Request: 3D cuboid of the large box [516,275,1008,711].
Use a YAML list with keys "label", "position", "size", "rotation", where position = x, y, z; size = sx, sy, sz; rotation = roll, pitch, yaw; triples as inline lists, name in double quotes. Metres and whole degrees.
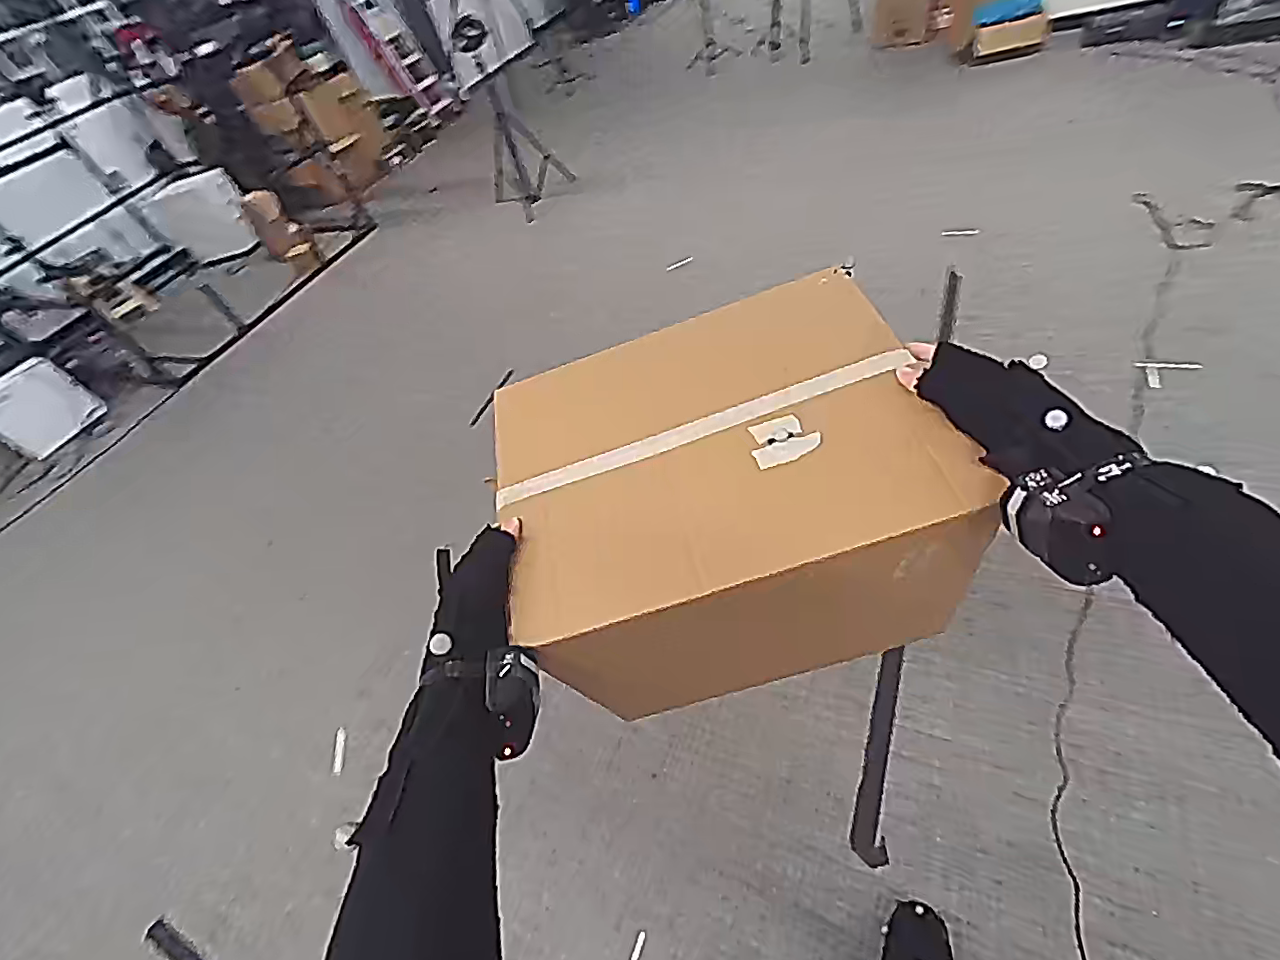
- label: "large box"
  position: [0.109, 0.036, 0.640]
  size: [0.408, 0.320, 0.320]
  rotation: [-18, 54, 6]
